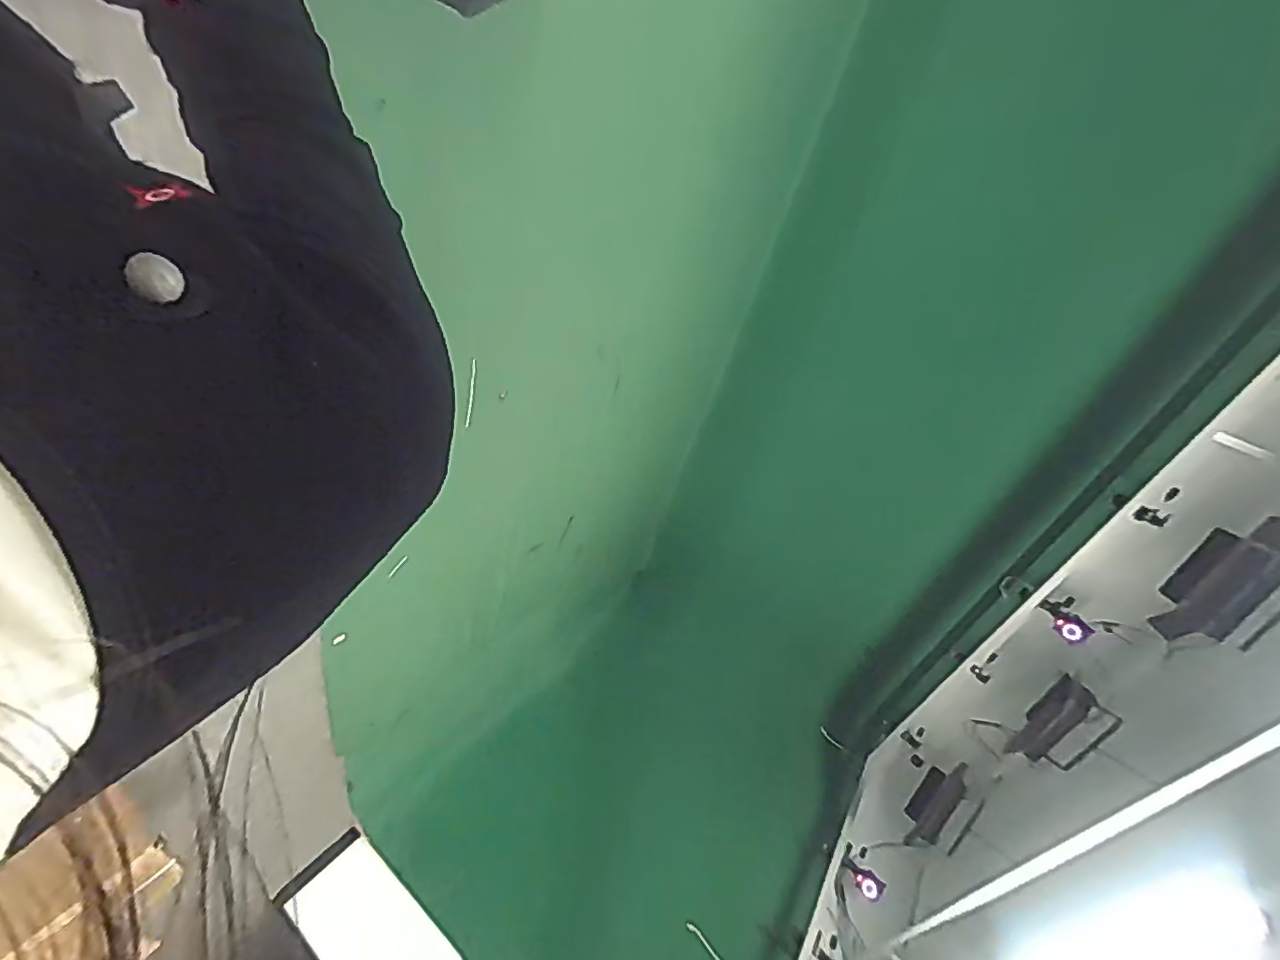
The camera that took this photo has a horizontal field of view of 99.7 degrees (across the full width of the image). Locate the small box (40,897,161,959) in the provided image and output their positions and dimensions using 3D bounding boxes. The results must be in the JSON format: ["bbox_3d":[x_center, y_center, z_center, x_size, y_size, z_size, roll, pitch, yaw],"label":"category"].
[{"bbox_3d":[-1.512,1.326,1.510,0.179,0.176,0.168,-39,153,-37],"label":"small box"}]
